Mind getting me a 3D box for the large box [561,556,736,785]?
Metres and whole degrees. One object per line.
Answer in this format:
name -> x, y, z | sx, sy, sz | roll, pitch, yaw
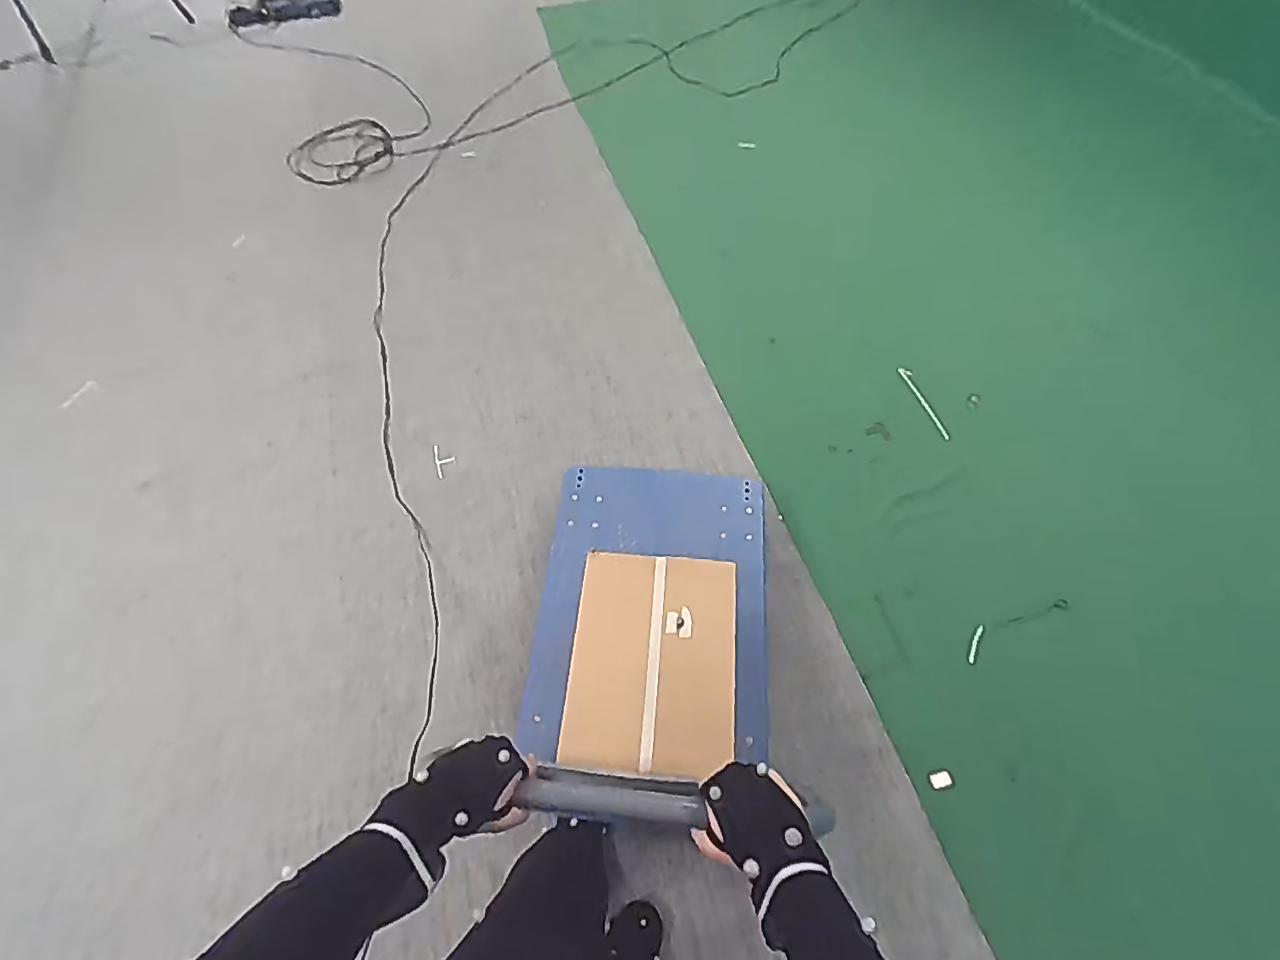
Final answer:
large box -> 0.031, 0.416, 1.163 | 0.320, 0.320, 0.408 | 4, 60, 3
